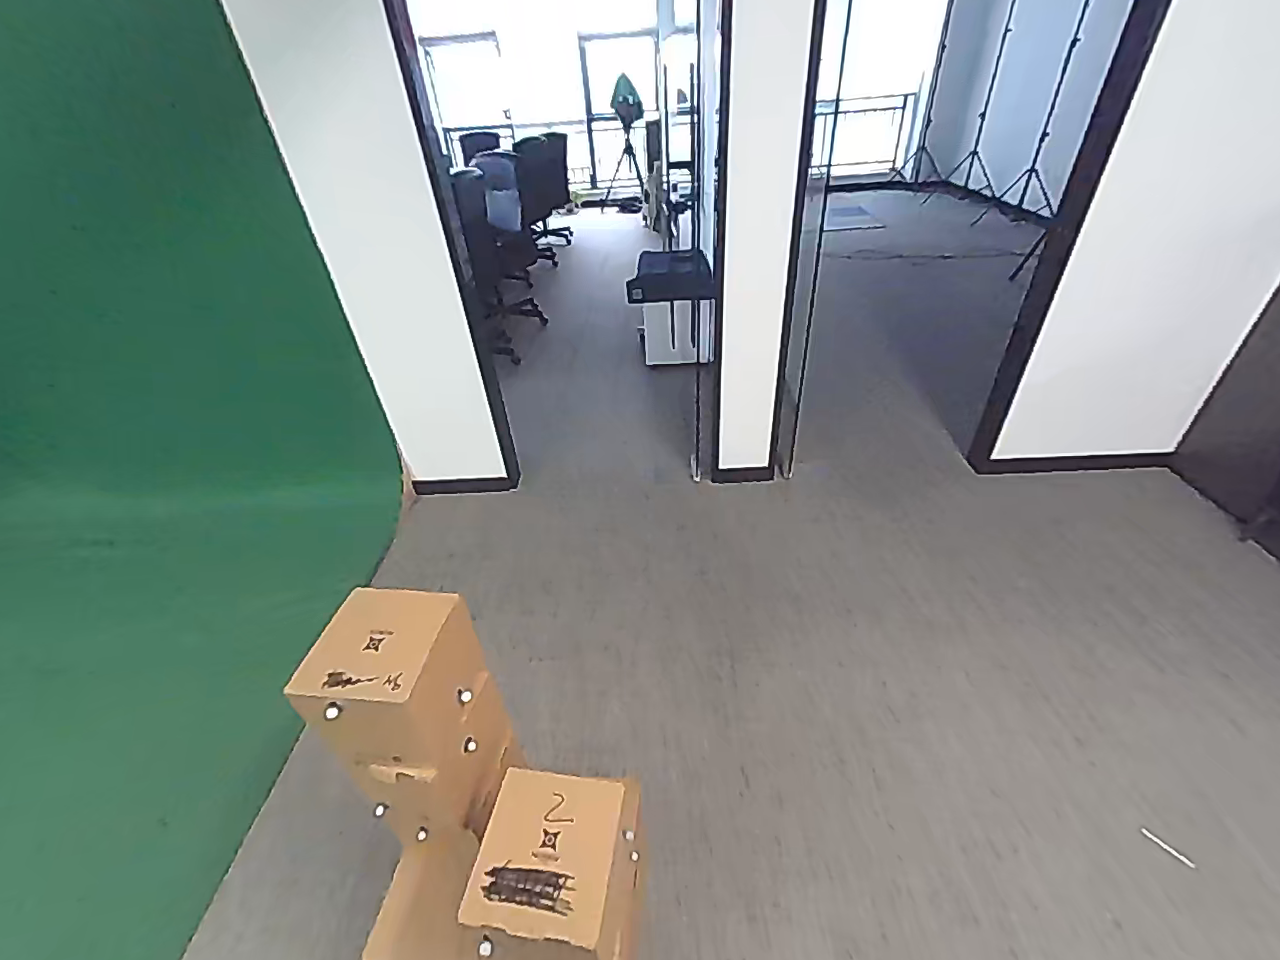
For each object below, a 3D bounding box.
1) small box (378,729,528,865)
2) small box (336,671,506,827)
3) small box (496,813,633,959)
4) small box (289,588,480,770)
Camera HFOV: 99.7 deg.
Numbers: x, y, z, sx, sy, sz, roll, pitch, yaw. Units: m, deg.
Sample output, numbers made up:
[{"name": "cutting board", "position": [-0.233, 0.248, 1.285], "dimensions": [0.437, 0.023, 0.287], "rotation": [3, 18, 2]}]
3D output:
[{"name": "small box", "position": [-0.320, 0.551, 0.962], "dimensions": [0.179, 0.176, 0.168], "rotation": [6, 38, 11]}, {"name": "small box", "position": [-0.333, 0.418, 0.867], "dimensions": [0.168, 0.176, 0.179], "rotation": [6, 36, 13]}, {"name": "small box", "position": [-0.101, 0.639, 0.821], "dimensions": [0.168, 0.176, 0.179], "rotation": [0, 37, 5]}, {"name": "small box", "position": [-0.345, 0.281, 0.776], "dimensions": [0.168, 0.176, 0.179], "rotation": [1, 36, 8]}]
